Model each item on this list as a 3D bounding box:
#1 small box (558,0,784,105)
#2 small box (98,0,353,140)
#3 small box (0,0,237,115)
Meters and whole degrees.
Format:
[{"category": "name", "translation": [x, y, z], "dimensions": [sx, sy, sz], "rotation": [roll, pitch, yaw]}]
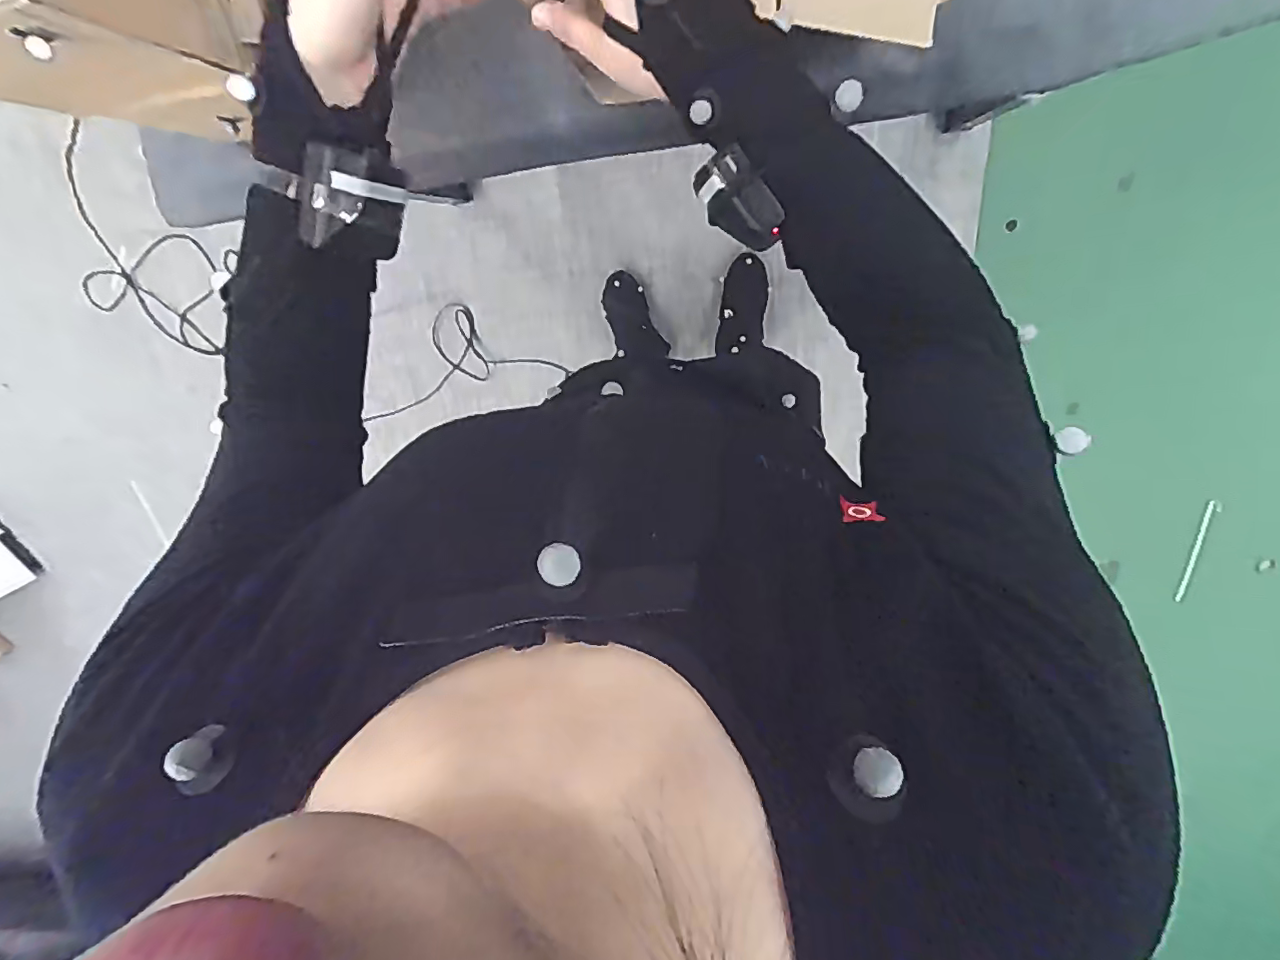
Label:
[{"category": "small box", "translation": [0.031, -0.444, 0.465], "dimensions": [0.179, 0.176, 0.168], "rotation": [0, 112, 8]}, {"category": "small box", "translation": [-0.411, -0.443, 0.523], "dimensions": [0.179, 0.176, 0.168], "rotation": [-1, 114, 9]}, {"category": "small box", "translation": [-0.446, -0.379, 0.377], "dimensions": [0.179, 0.176, 0.168], "rotation": [-6, 113, 10]}]
